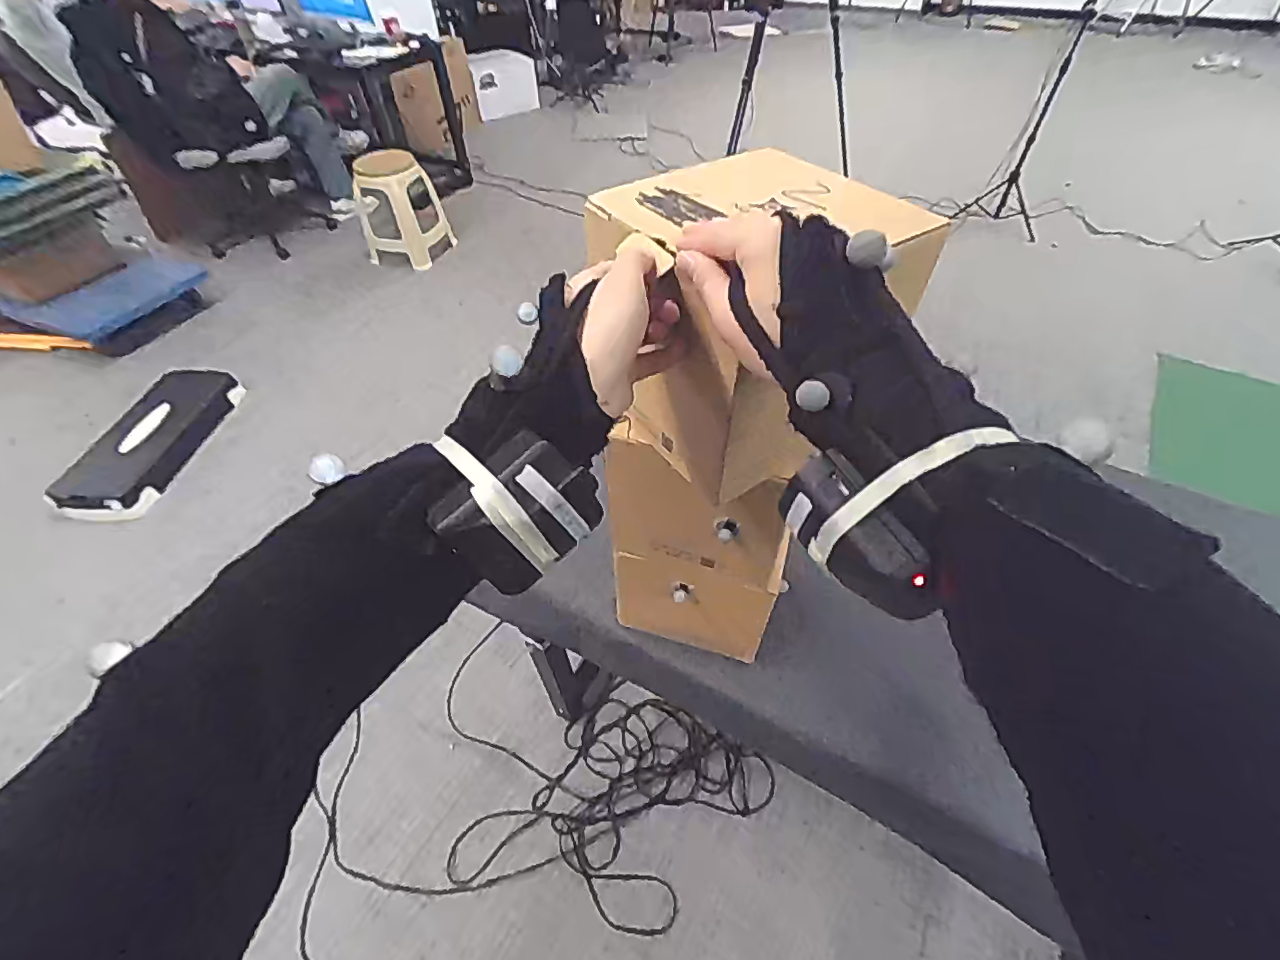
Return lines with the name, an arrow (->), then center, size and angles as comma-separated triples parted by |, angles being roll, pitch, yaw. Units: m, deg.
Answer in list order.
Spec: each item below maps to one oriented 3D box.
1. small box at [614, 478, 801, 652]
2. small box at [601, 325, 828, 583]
small box -> 0.081, 0.088, 0.659 | 0.179, 0.176, 0.168 | 13, 50, 14
small box -> 0.075, -0.025, 0.542 | 0.168, 0.176, 0.179 | 16, 49, 14
